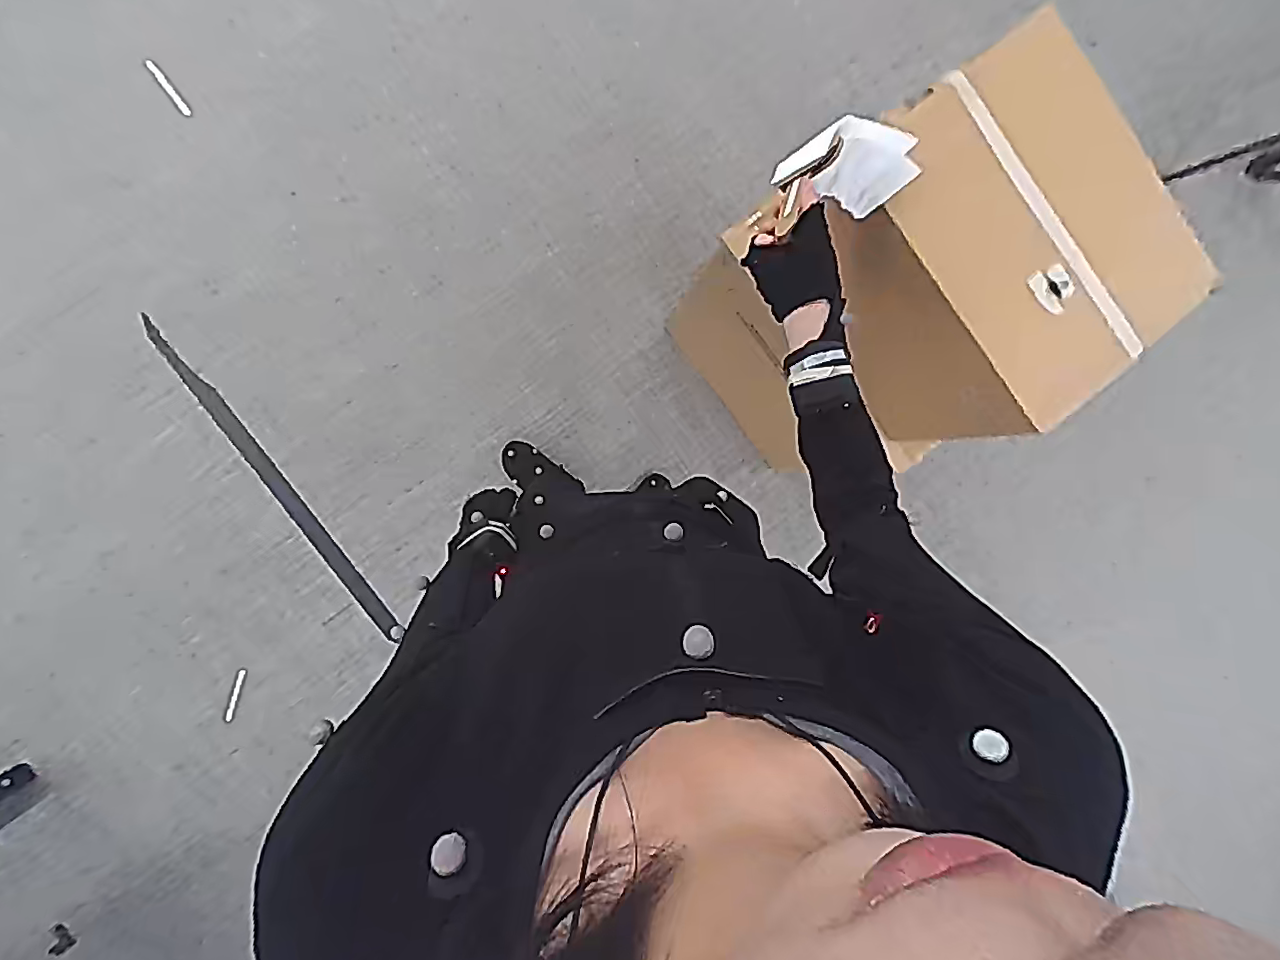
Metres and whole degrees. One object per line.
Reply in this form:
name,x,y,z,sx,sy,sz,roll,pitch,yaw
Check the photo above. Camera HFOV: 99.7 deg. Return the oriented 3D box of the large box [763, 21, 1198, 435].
large box,0.462,-0.320,0.811,0.320,0.320,0.408,-39,96,-4
